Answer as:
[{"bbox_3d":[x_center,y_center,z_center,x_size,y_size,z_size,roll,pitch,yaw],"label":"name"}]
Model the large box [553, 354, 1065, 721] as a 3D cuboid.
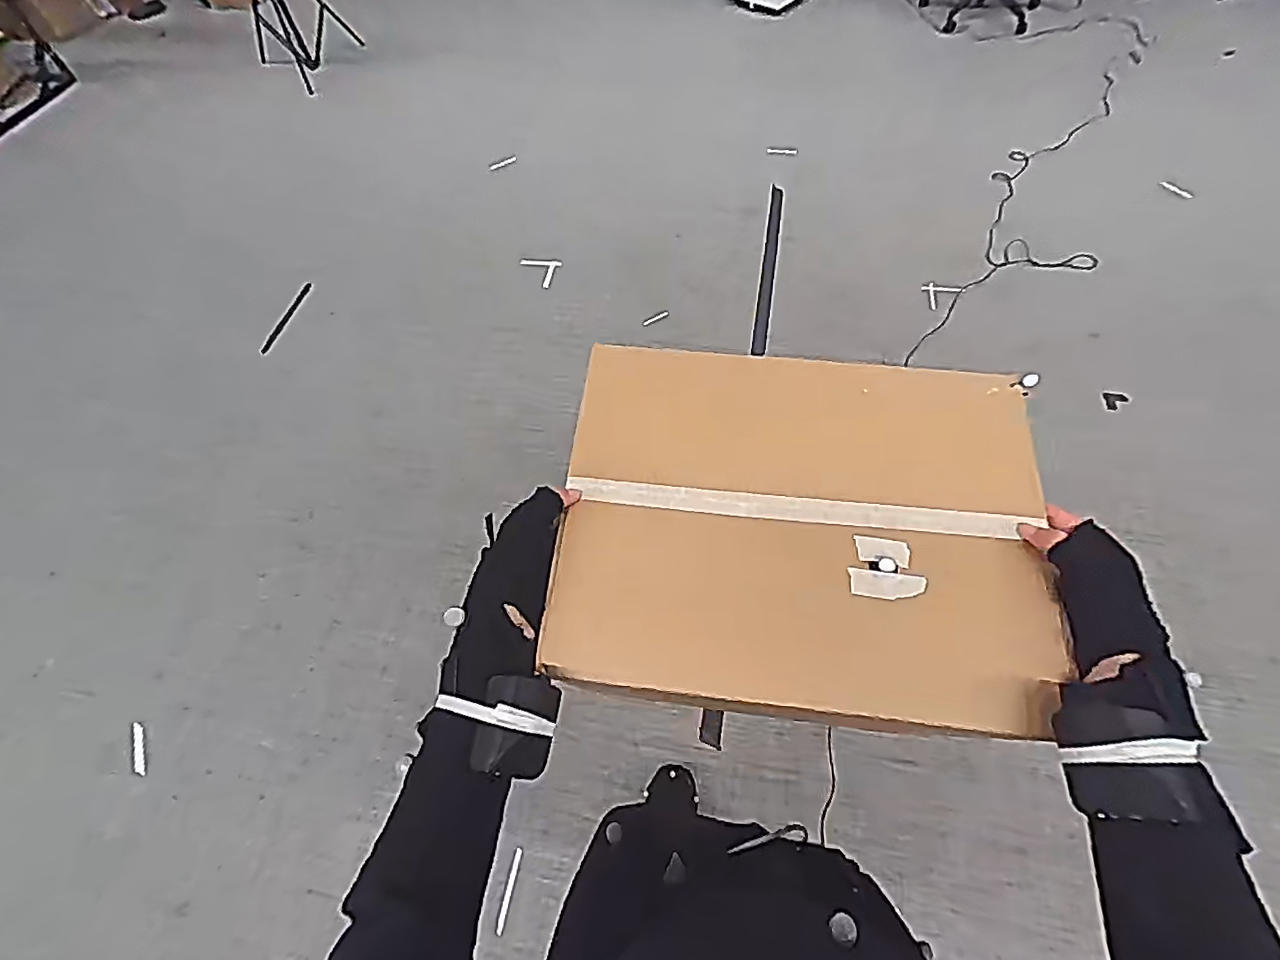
[{"bbox_3d":[0.143,0.085,0.613,0.408,0.320,0.320,5,68,4],"label":"large box"}]
